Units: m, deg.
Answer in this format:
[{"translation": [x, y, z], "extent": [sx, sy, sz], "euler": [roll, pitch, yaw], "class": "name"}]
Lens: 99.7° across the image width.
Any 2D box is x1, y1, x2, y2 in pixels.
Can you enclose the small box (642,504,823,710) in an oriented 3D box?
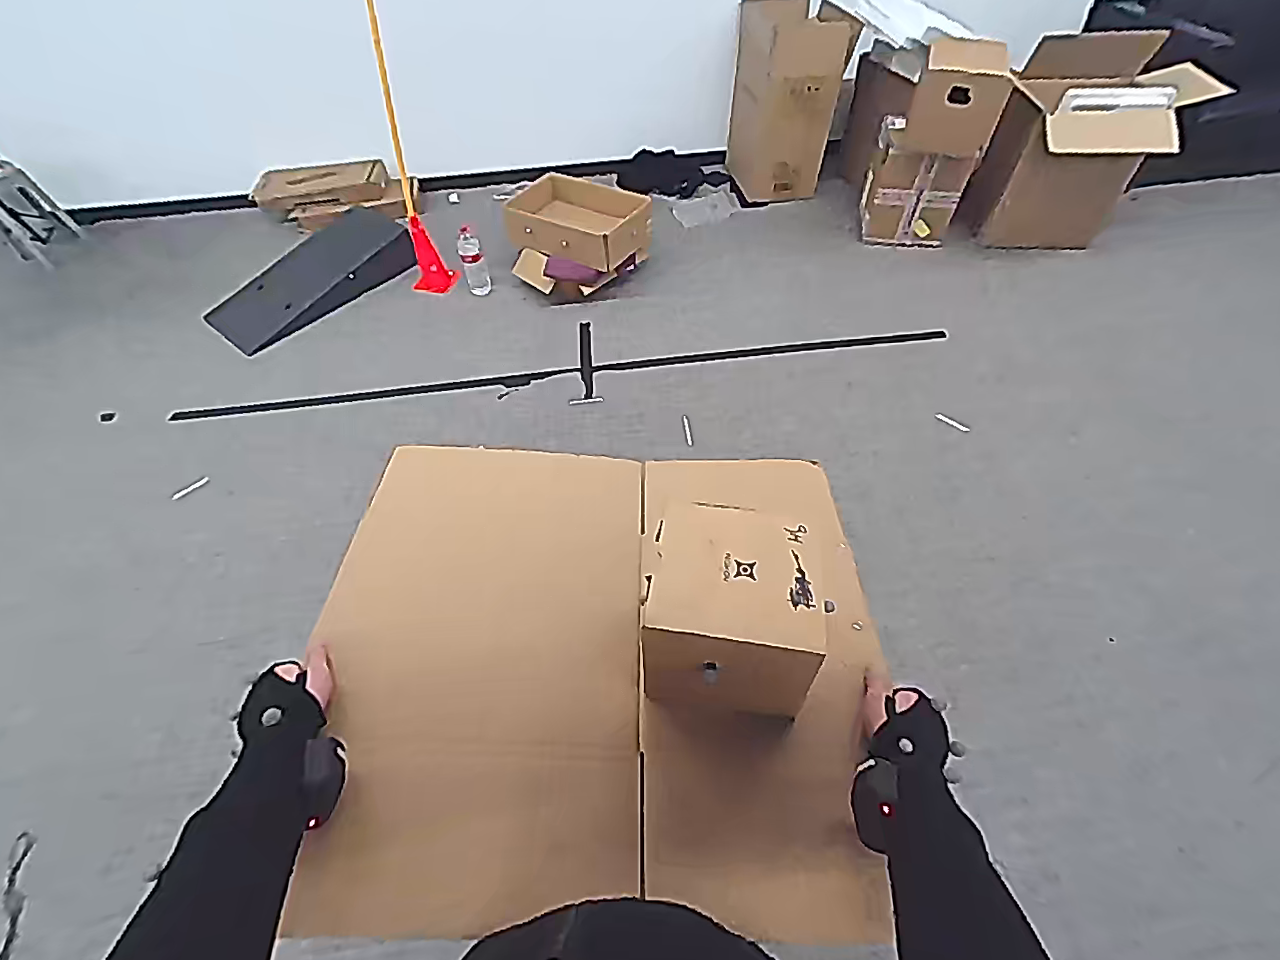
[{"translation": [0.104, 0.149, 0.628], "extent": [0.179, 0.176, 0.168], "euler": [5, 48, 9], "class": "small box"}]
